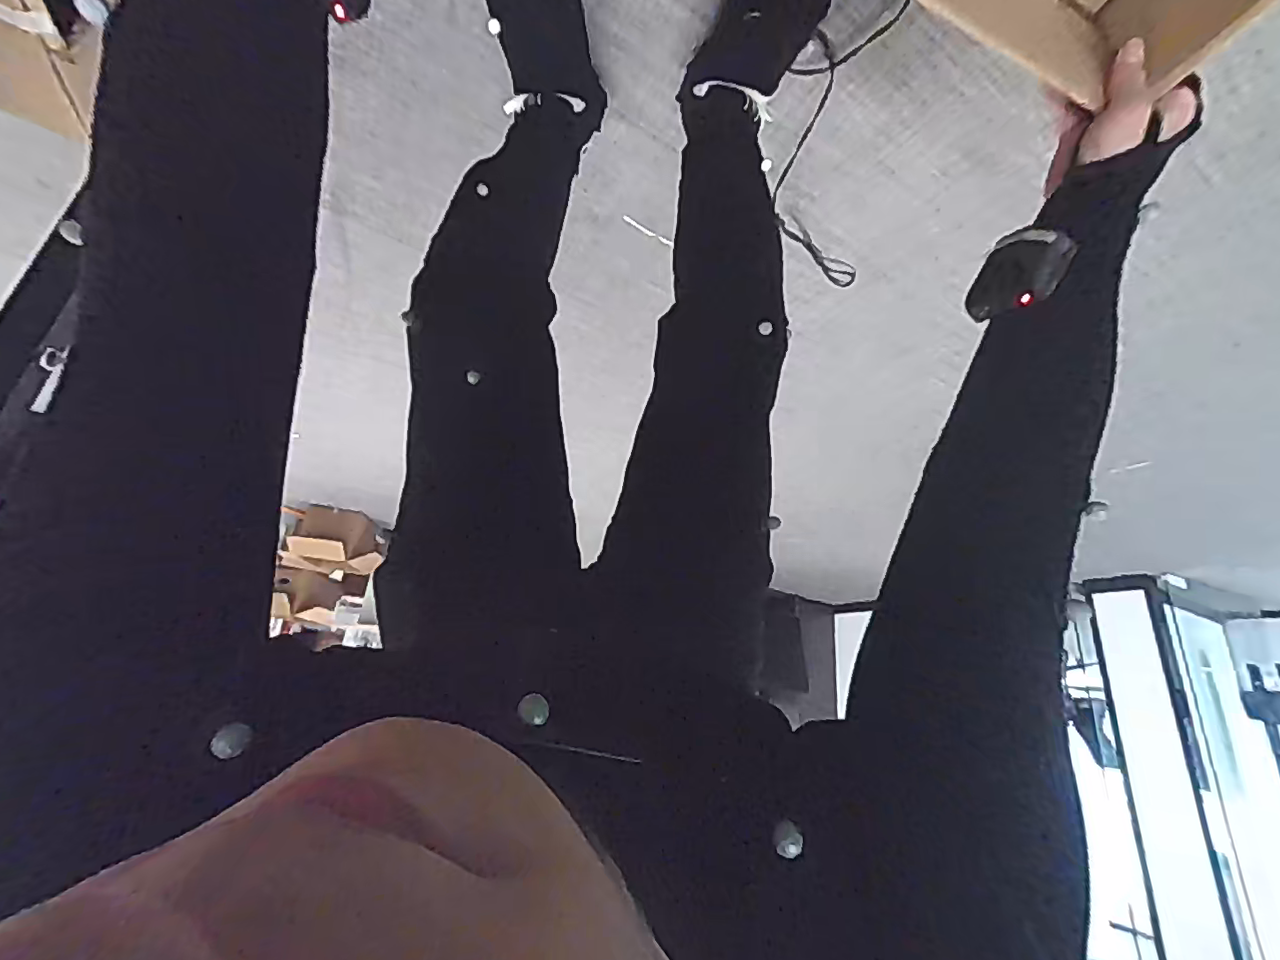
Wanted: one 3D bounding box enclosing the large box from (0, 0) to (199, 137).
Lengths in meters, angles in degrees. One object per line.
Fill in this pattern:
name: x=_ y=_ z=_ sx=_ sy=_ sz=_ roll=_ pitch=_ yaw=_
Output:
large box: x=-0.723 y=-0.635 z=0.494 sx=0.408 sy=0.320 sz=0.320 roll=17 pitch=156 yaw=-23
